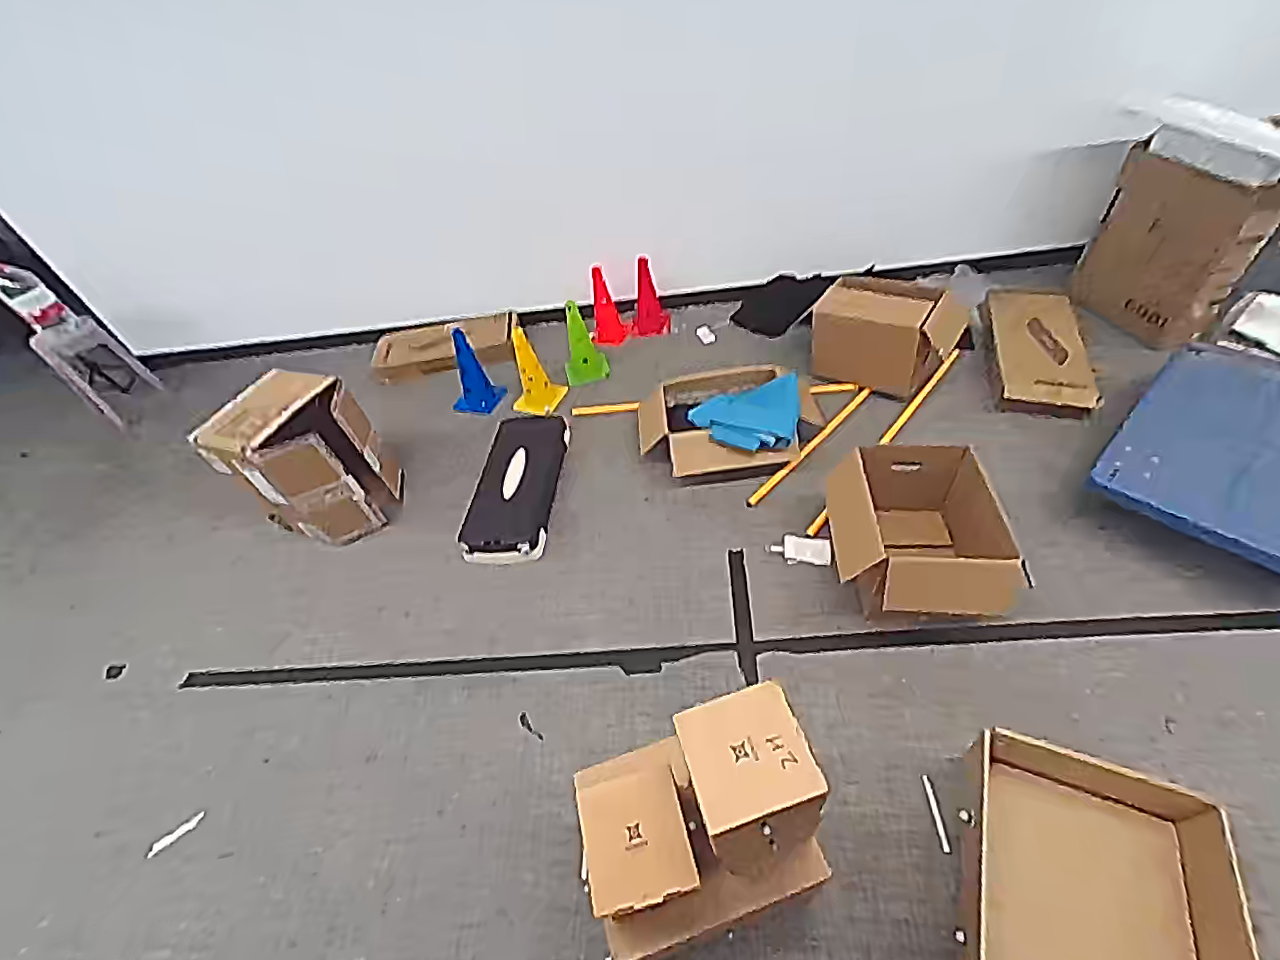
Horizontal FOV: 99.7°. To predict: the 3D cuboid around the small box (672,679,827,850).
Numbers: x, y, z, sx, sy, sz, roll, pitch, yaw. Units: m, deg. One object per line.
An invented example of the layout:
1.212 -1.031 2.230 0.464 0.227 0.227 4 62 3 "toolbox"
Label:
0.162 0.440 0.829 0.179 0.176 0.168 -17 48 -5 "small box"
